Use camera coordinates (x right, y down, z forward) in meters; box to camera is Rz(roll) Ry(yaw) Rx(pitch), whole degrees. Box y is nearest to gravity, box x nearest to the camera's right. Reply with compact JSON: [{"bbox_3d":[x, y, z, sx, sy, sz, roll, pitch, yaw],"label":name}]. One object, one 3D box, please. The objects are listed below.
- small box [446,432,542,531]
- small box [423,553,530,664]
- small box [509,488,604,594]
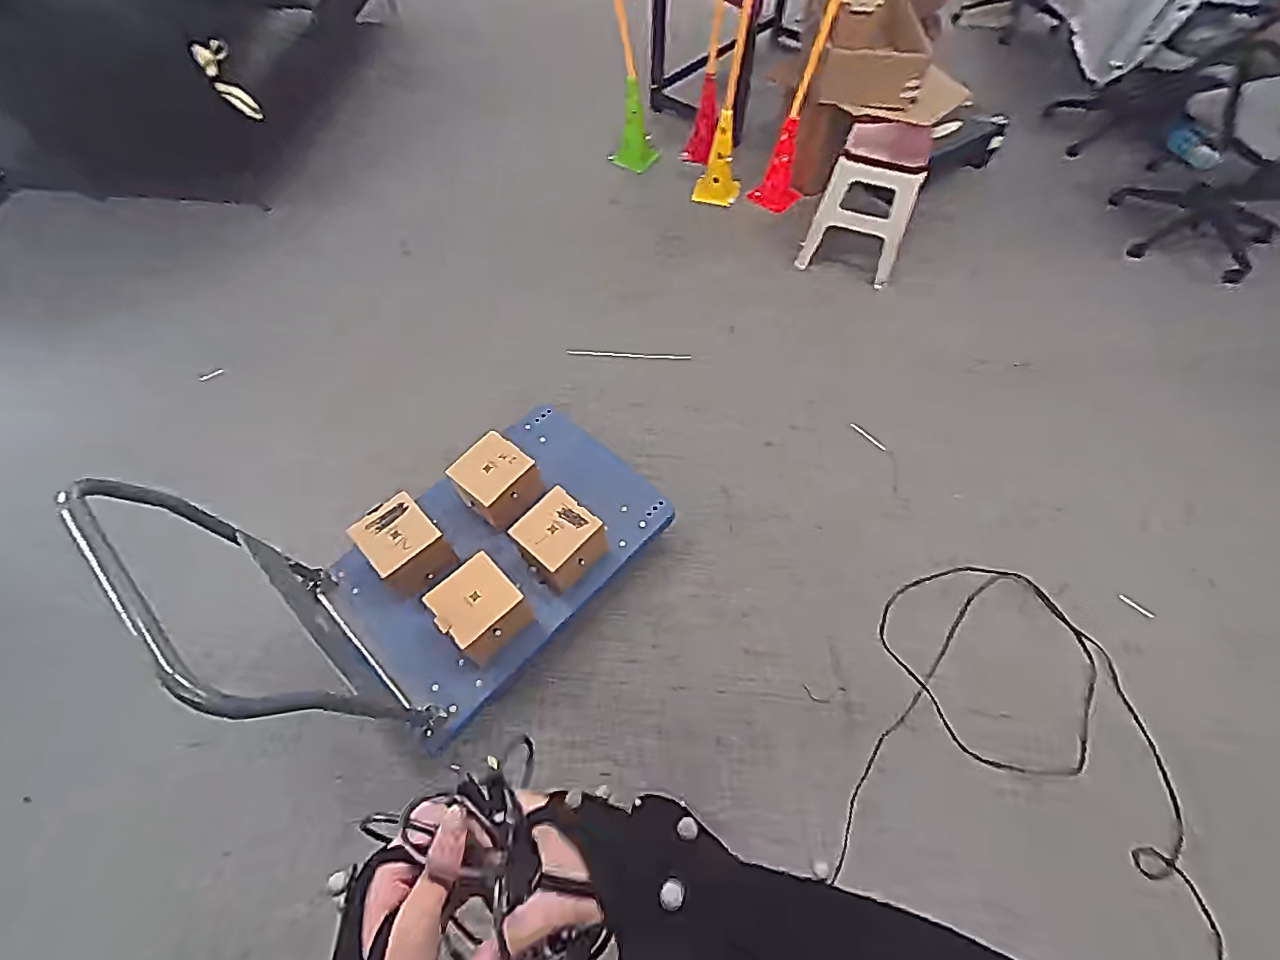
[{"bbox_3d":[-0.390,0.009,1.481,0.168,0.176,0.179,36,67,19],"label":"small box"},{"bbox_3d":[-0.383,0.314,1.308,0.179,0.176,0.168,-40,67,-19],"label":"small box"},{"bbox_3d":[-0.205,0.160,1.391,0.168,0.176,0.179,38,68,21],"label":"small box"}]
